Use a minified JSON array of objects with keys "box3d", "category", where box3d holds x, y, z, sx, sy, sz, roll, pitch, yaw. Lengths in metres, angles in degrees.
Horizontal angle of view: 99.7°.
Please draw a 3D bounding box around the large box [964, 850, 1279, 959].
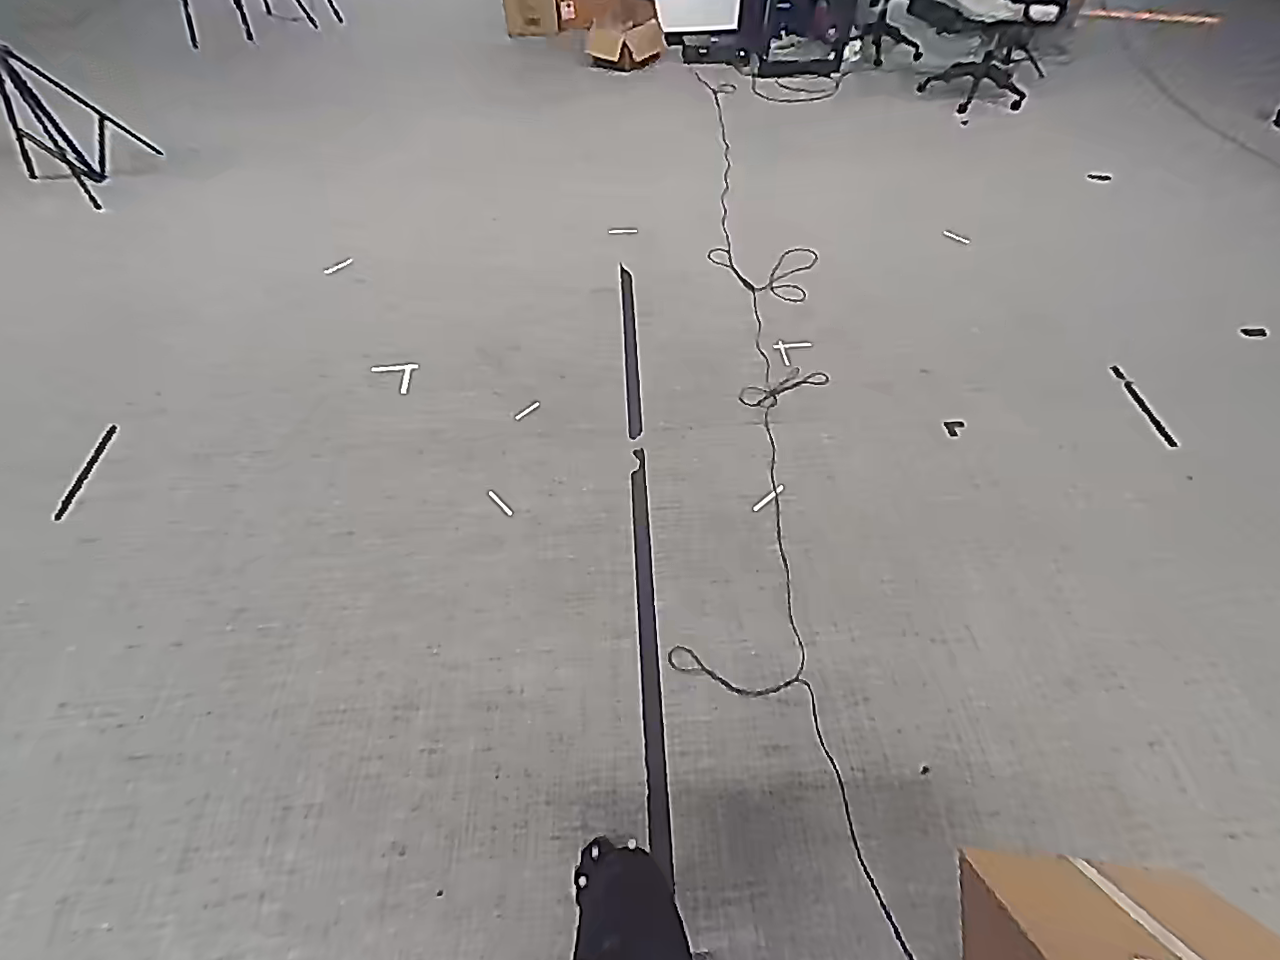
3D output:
[{"box3d":[0.602,0.692,0.588,0.320,0.408,0.320,1,82,10],"category":"large box"}]
